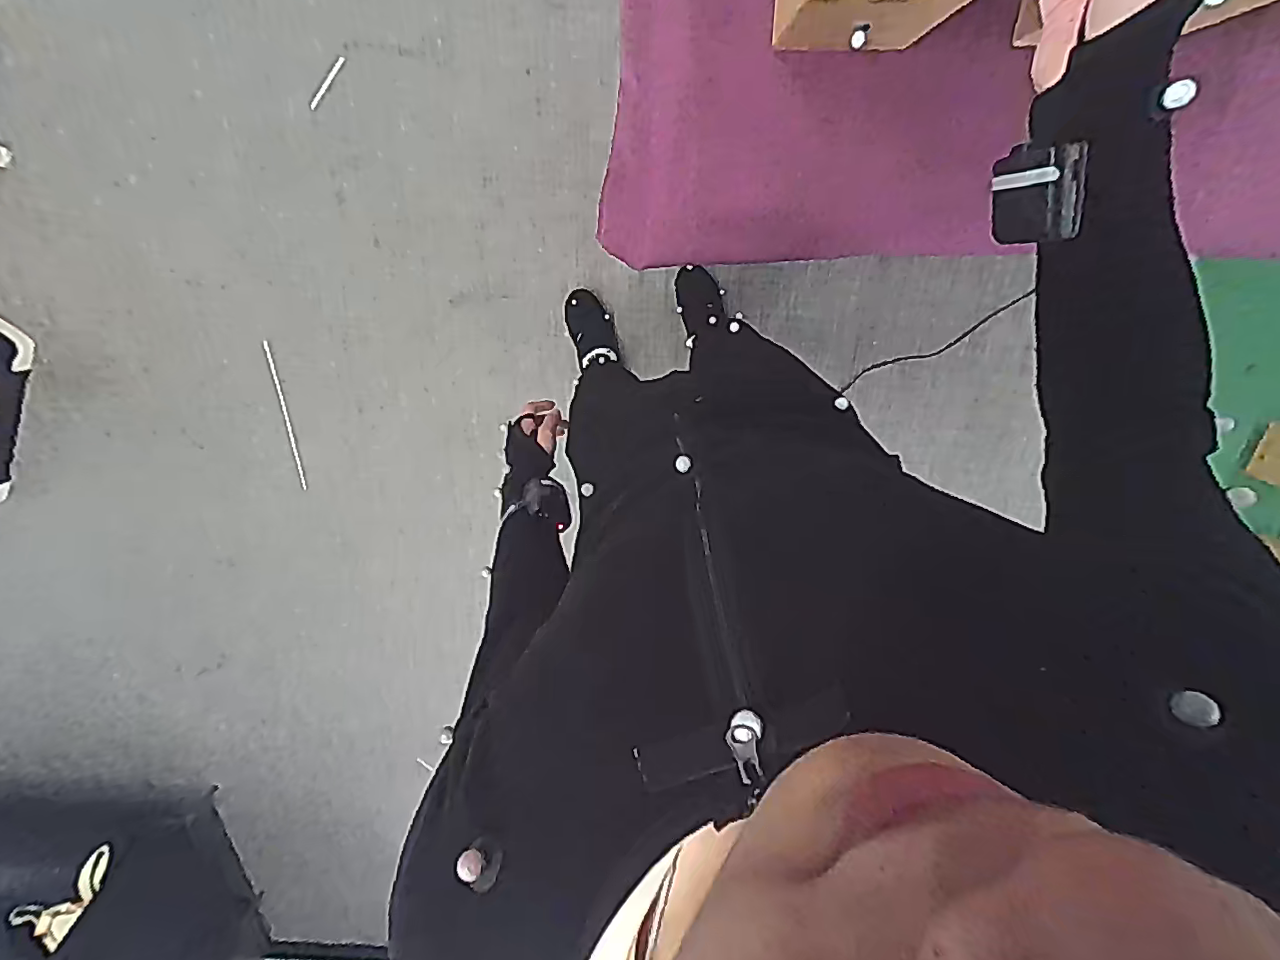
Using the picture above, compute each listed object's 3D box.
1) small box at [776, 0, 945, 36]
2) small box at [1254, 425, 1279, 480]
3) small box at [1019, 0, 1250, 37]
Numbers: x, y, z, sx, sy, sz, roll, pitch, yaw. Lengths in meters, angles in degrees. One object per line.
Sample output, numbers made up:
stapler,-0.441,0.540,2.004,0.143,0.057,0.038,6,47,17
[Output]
small box,0.238,-0.571,0.540,0.168,0.176,0.179,0,116,1
small box,1.917,-0.069,1.516,0.179,0.176,0.168,1,115,1
small box,0.529,-0.565,0.533,0.179,0.176,0.168,1,115,3
